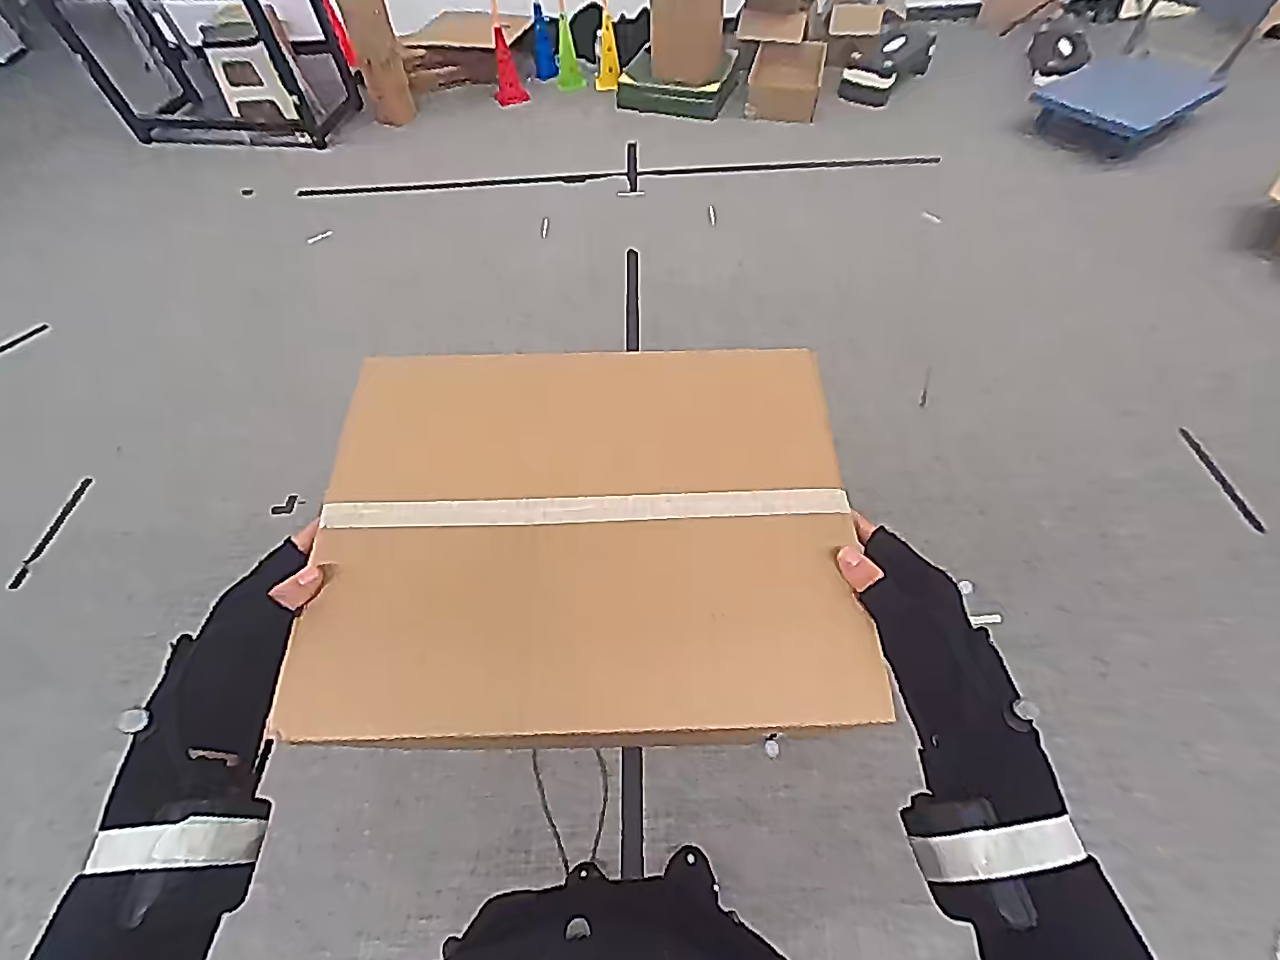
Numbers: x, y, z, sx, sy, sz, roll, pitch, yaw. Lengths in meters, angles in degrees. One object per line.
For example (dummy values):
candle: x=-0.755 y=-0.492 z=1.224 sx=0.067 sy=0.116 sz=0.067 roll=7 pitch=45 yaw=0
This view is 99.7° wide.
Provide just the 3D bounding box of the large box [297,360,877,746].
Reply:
large box: x=-0.038 y=0.098 z=0.564 sx=0.408 sy=0.320 sz=0.320 roll=-1 pitch=62 yaw=-1
